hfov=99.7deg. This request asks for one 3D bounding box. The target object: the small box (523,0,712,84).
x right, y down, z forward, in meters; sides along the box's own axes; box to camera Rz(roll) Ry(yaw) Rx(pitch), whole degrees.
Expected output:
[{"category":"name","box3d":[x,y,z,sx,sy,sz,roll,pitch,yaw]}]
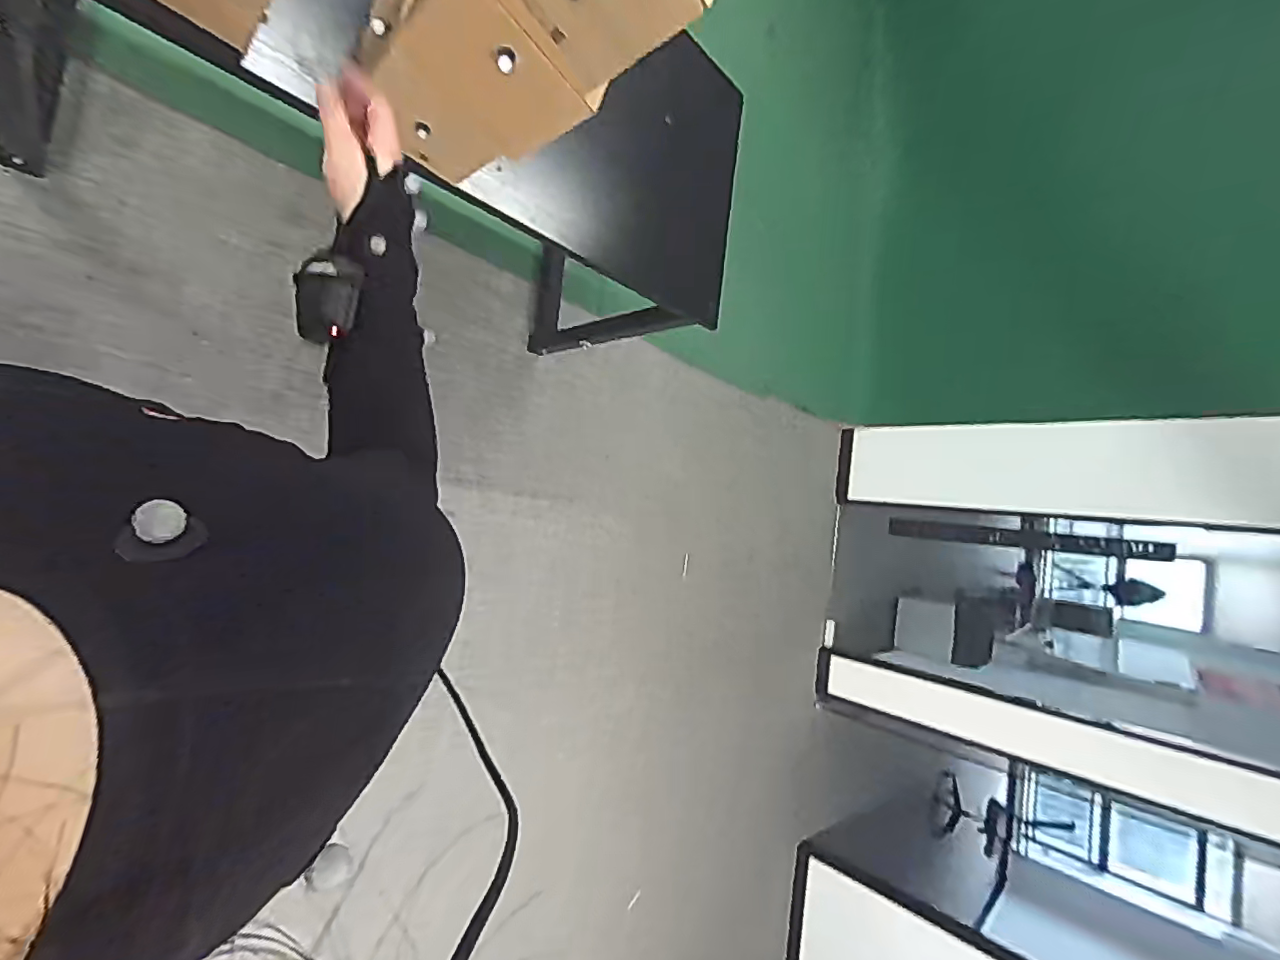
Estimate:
[{"category":"small box","box3d":[-0.021,-0.521,0.495,0.168,0.176,0.179,32,72,-41]}]

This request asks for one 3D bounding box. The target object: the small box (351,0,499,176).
[{"category":"small box","box3d":[-0.258,-0.547,0.717,0.168,0.176,0.179,18,80,-46]}]

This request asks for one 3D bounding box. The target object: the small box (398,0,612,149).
[{"category":"small box","box3d":[-0.136,-0.515,0.612,0.179,0.176,0.168,28,74,-43]}]
